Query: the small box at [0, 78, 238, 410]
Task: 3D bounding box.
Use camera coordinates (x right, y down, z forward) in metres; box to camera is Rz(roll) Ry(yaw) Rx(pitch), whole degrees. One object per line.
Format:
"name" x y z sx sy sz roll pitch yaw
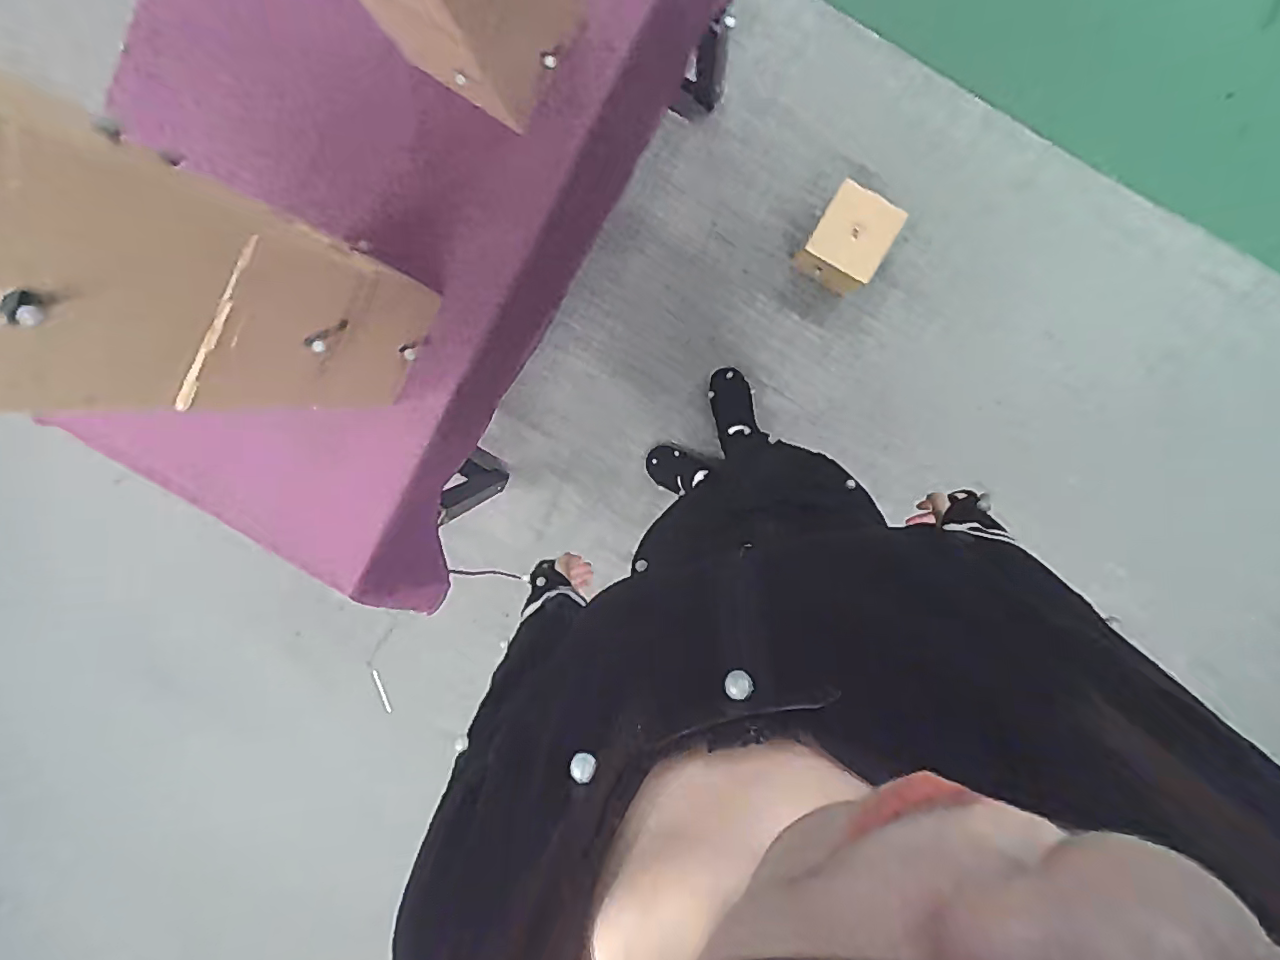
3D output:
"small box" -0.420 -0.156 0.354 0.168 0.176 0.179 32 99 -1

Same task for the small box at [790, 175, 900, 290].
"small box" 0.478 -0.579 1.295 0.168 0.176 0.179 28 100 -1

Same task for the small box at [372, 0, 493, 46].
"small box" -0.205 -0.516 0.446 0.179 0.176 0.168 31 100 -1

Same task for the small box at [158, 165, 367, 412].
"small box" -0.409 -0.178 0.517 0.179 0.176 0.168 31 101 -1

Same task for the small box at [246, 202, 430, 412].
"small box" -0.393 -0.202 0.680 0.168 0.176 0.179 29 100 0
